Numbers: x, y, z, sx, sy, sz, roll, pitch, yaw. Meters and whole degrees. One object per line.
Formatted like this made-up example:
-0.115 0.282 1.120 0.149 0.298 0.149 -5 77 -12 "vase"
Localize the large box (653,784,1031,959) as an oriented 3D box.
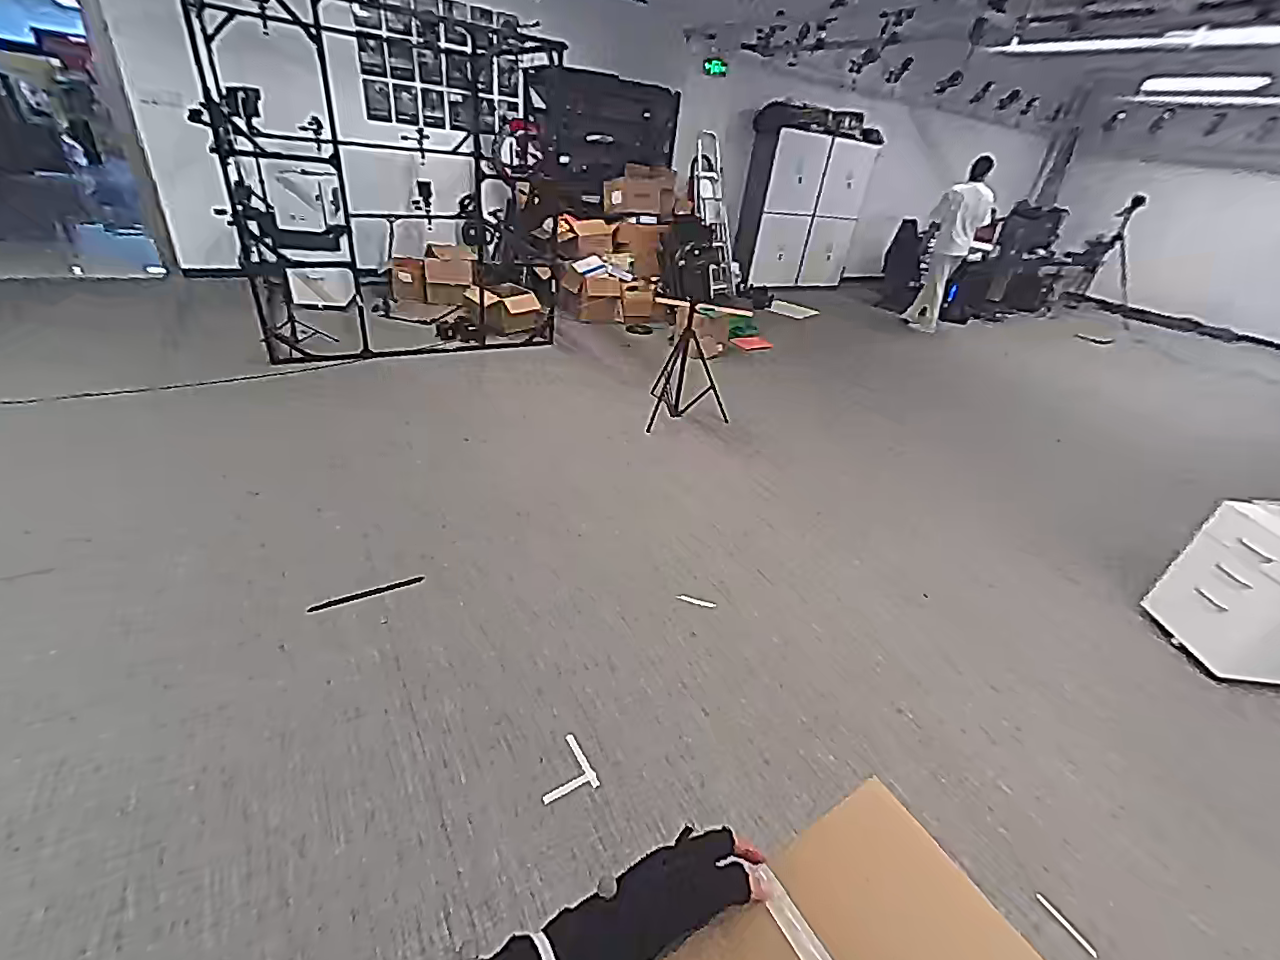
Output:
0.204 0.575 0.452 0.320 0.320 0.408 -20 44 -26 "large box"
